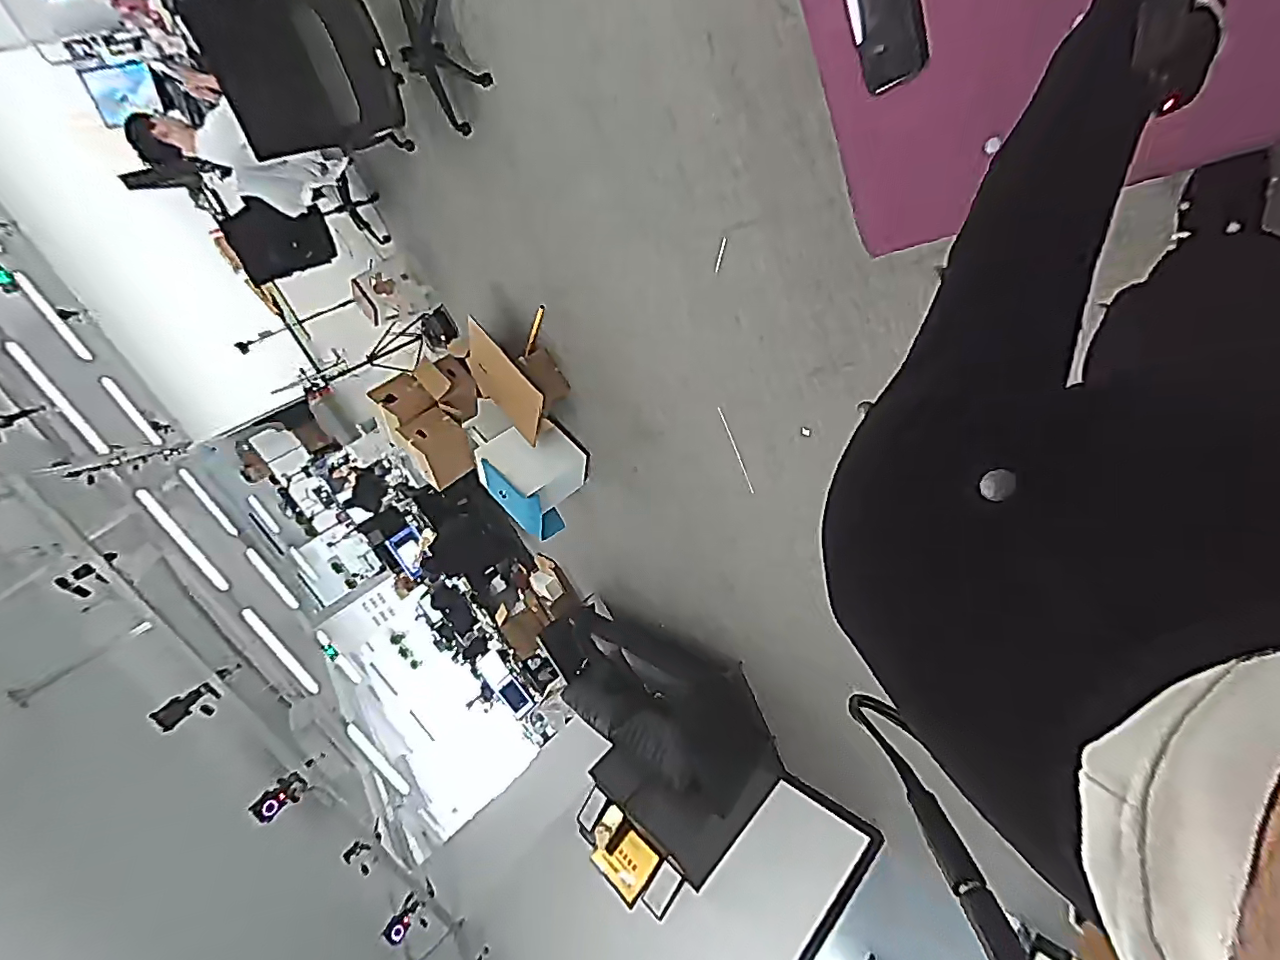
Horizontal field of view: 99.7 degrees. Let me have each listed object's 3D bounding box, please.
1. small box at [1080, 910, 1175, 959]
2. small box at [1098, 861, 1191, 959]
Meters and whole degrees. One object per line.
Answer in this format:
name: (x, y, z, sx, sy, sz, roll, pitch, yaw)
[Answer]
small box: (1.347, 1.358, 1.499, 0.168, 0.176, 0.179, 17, 136, 51)
small box: (1.467, 1.277, 1.577, 0.168, 0.176, 0.179, 15, 133, 52)
